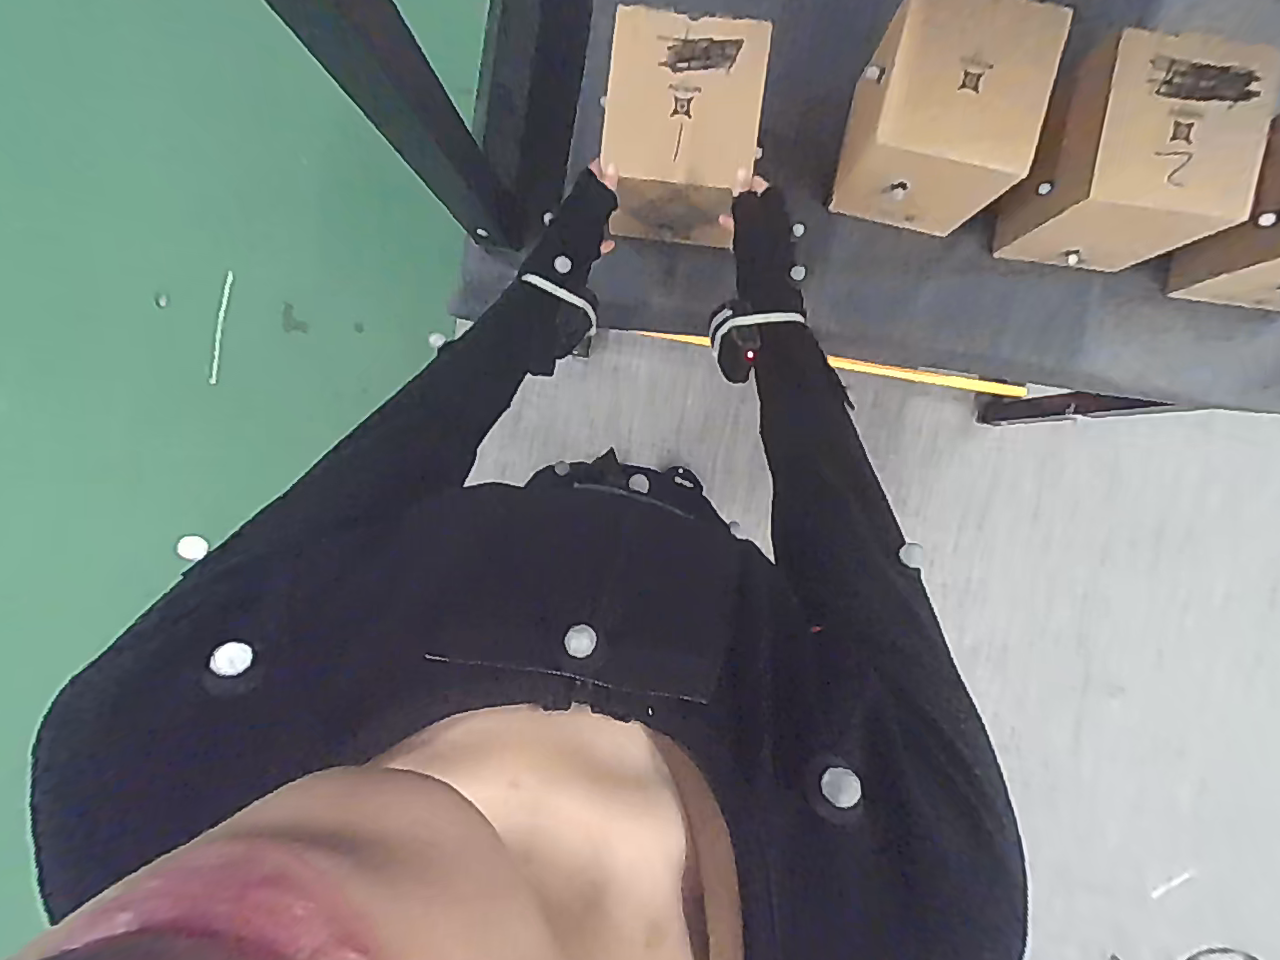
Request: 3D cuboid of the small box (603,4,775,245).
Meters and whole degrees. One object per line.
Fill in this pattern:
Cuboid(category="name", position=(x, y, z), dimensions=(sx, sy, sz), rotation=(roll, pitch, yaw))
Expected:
Cuboid(category="small box", position=(0.052, -0.409, 0.651), dimensions=(0.168, 0.176, 0.179), rotation=(7, 95, 1))

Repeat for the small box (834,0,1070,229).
Cuboid(category="small box", position=(0.349, -0.428, 0.645), dimensions=(0.168, 0.176, 0.179), rotation=(13, 93, 1))

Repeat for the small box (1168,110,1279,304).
Cuboid(category="small box", position=(0.784, -0.320, 0.632), dimensions=(0.168, 0.176, 0.179), rotation=(8, 93, 1))
